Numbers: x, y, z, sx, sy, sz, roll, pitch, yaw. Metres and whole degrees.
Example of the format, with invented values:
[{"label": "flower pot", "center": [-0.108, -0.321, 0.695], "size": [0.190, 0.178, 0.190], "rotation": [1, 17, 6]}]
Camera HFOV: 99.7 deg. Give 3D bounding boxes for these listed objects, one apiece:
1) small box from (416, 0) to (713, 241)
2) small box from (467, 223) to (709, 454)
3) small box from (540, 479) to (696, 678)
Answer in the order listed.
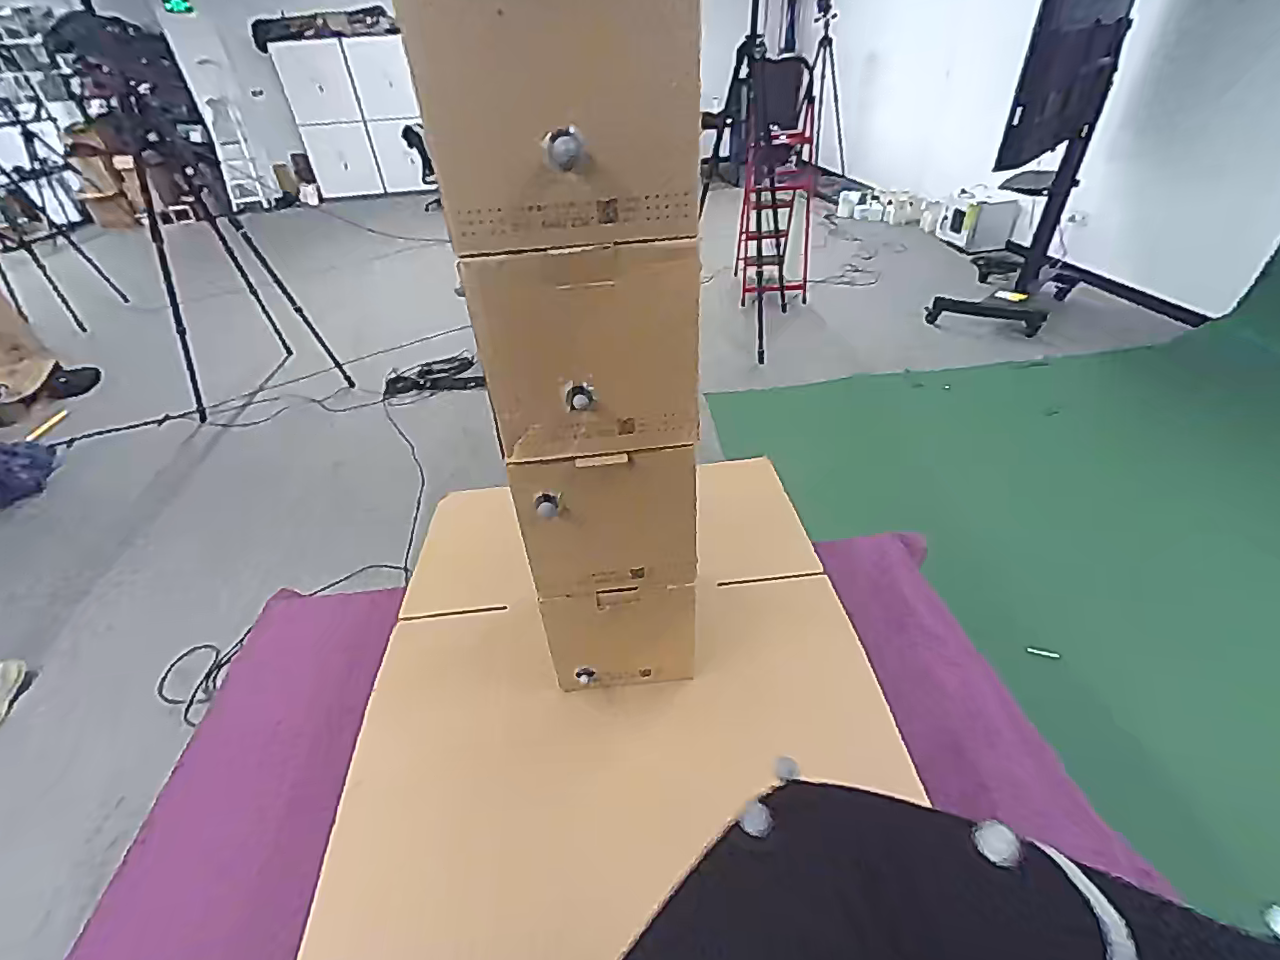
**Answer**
[{"label": "small box", "center": [-0.048, -0.275, 0.380], "size": [0.168, 0.176, 0.179], "rotation": [-6, 37, -3]}, {"label": "small box", "center": [-0.041, -0.141, 0.475], "size": [0.168, 0.176, 0.179], "rotation": [-6, 36, -4]}, {"label": "small box", "center": [-0.026, 0.125, 0.666], "size": [0.168, 0.176, 0.179], "rotation": [-7, 39, -4]}]
